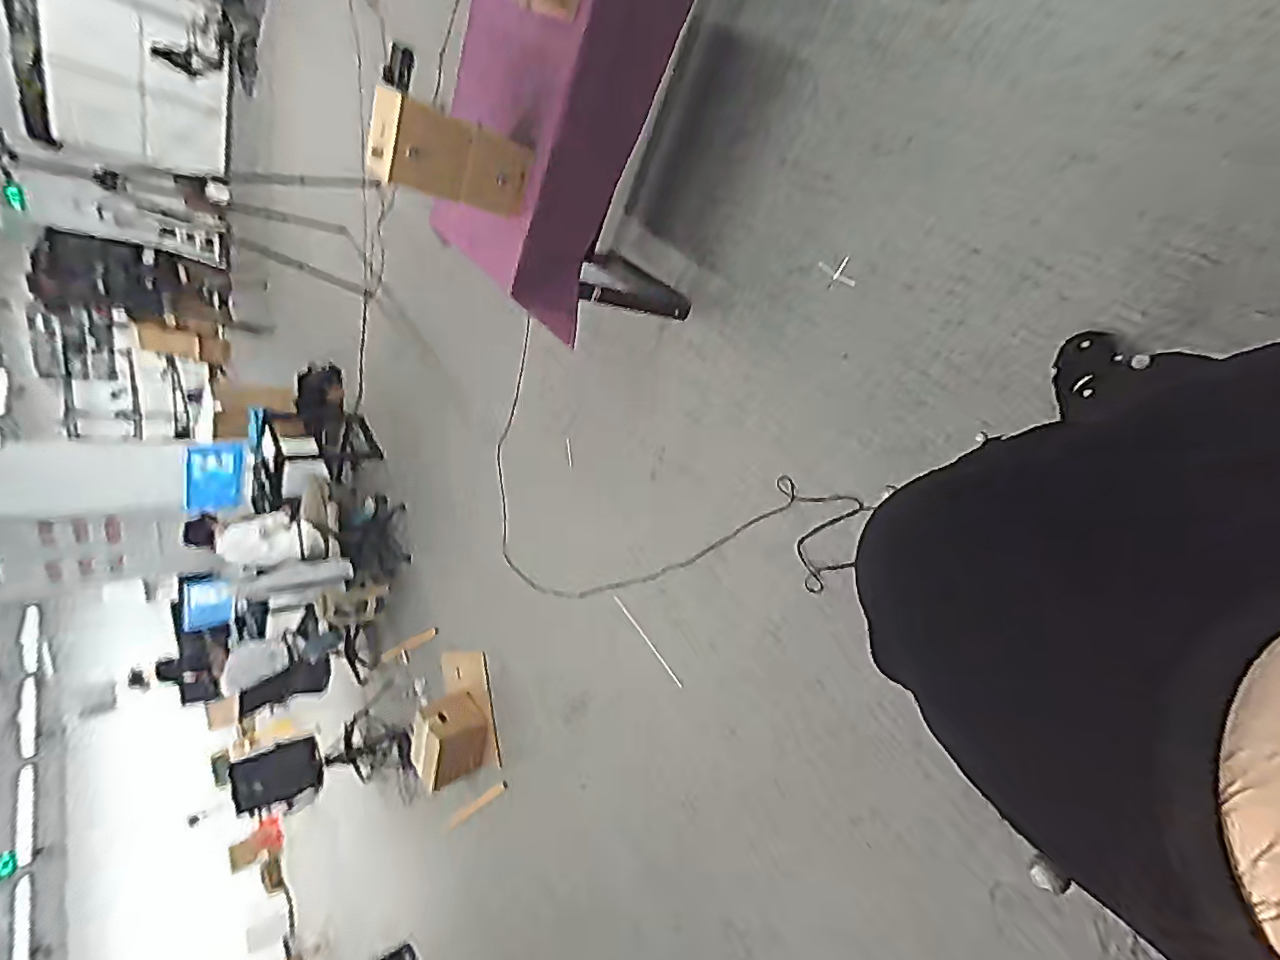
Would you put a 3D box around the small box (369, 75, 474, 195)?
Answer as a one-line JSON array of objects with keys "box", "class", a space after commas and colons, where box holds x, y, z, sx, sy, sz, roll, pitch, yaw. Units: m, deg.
[{"box": [-0.510, -0.798, 1.265, 0.168, 0.176, 0.179, 46, 123, 33], "class": "small box"}]

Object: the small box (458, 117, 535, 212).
[{"box": [-0.392, -0.809, 1.380, 0.179, 0.176, 0.168, 46, 123, 33], "class": "small box"}]

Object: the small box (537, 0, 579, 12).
[{"box": [-0.213, -1.159, 1.166, 0.168, 0.176, 0.179, 45, 124, 33], "class": "small box"}]
